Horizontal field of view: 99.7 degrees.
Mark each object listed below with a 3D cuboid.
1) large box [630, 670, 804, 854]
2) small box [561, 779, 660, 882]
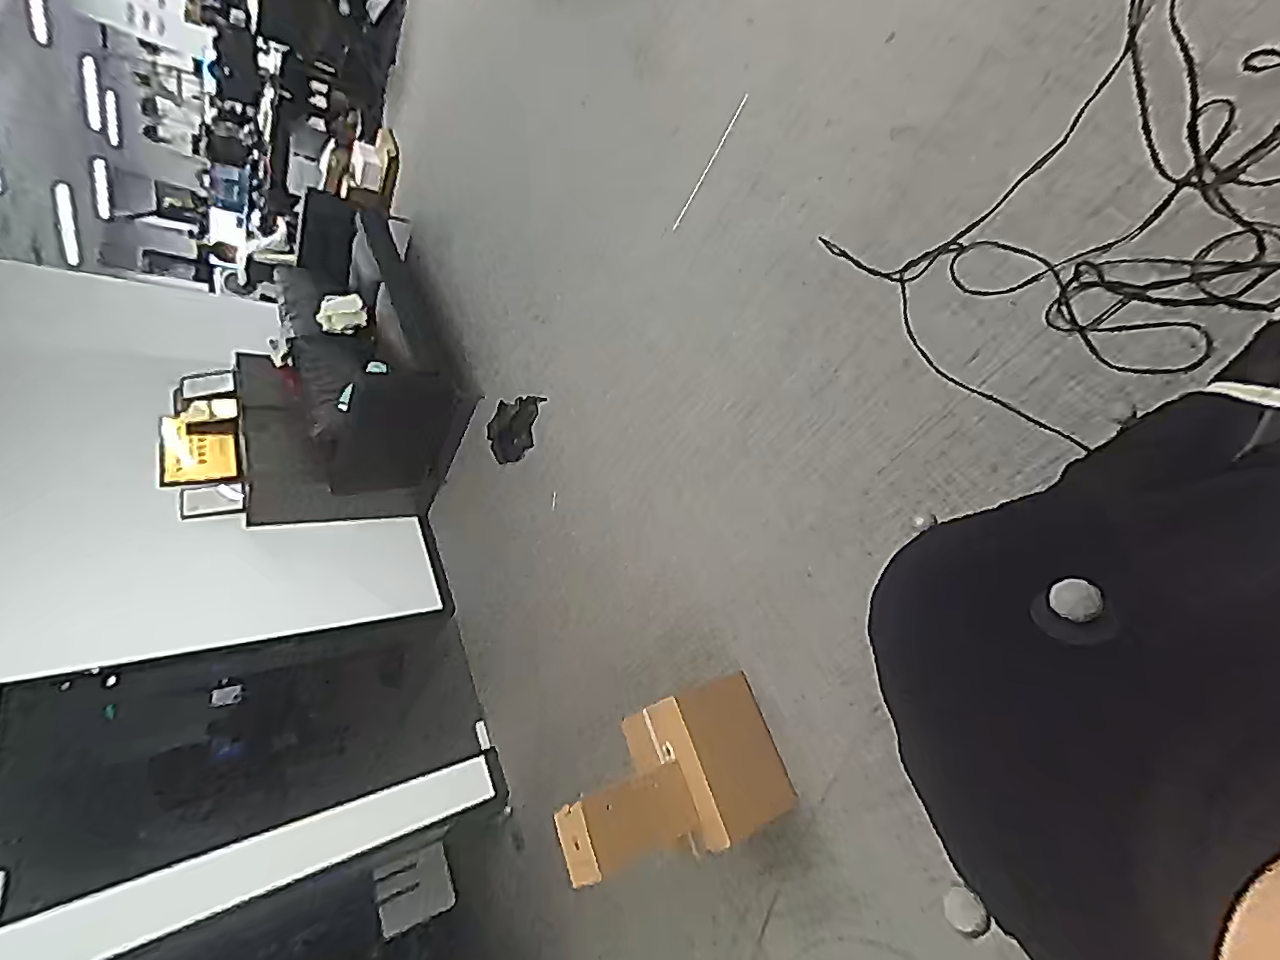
[{"bbox_3d":[0.229,0.863,1.683,0.320,0.320,0.408,-46,55,40],"label":"large box"},{"bbox_3d":[-0.078,0.909,1.416,0.168,0.176,0.179,-51,53,40],"label":"small box"}]
